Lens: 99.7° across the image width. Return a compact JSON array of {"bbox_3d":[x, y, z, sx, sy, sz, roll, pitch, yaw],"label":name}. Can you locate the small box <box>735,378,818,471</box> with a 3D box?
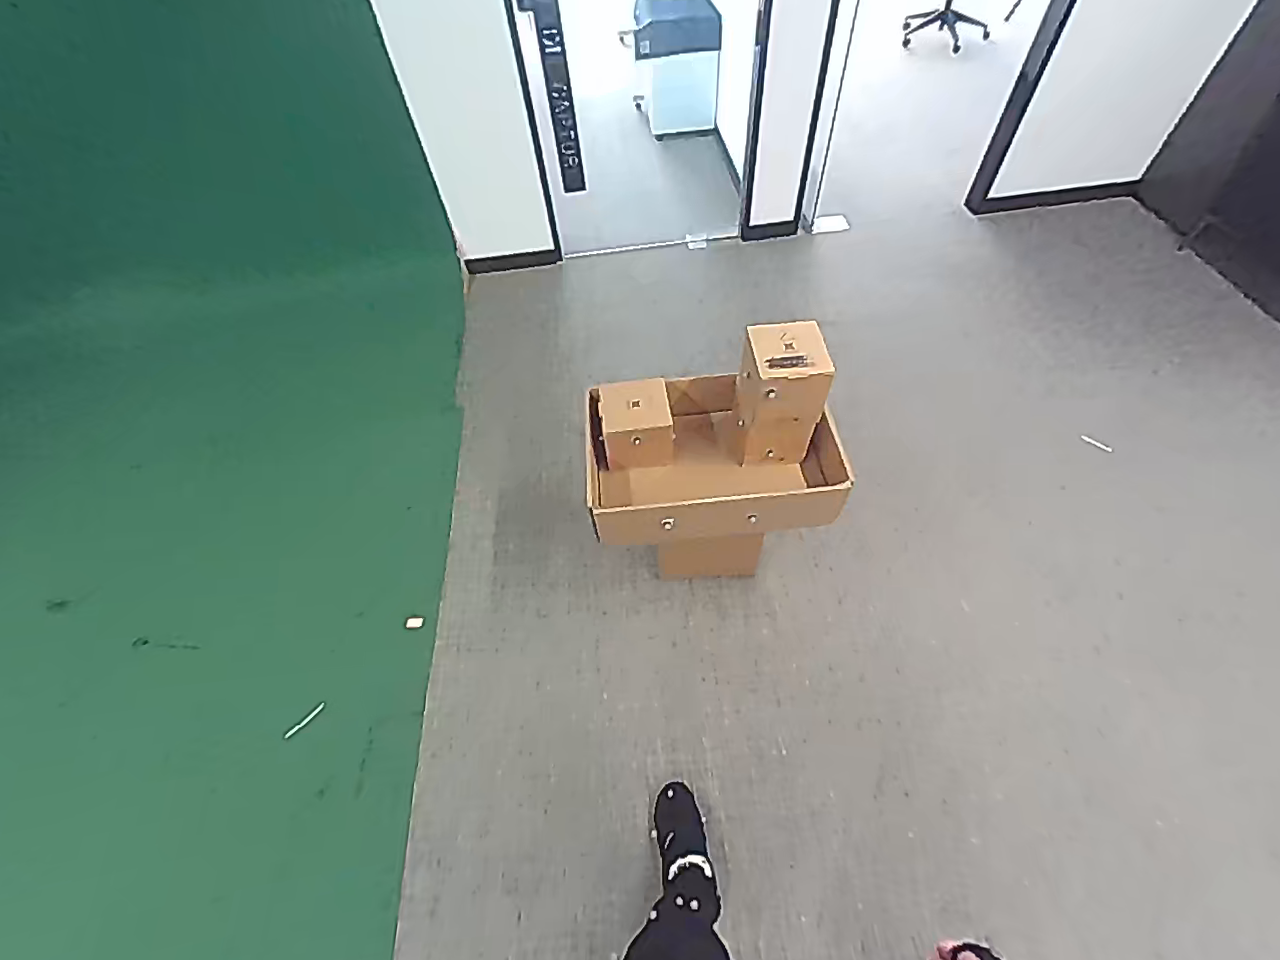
[{"bbox_3d":[0.347,-0.144,1.416,0.168,0.176,0.179,-4,55,0],"label":"small box"}]
